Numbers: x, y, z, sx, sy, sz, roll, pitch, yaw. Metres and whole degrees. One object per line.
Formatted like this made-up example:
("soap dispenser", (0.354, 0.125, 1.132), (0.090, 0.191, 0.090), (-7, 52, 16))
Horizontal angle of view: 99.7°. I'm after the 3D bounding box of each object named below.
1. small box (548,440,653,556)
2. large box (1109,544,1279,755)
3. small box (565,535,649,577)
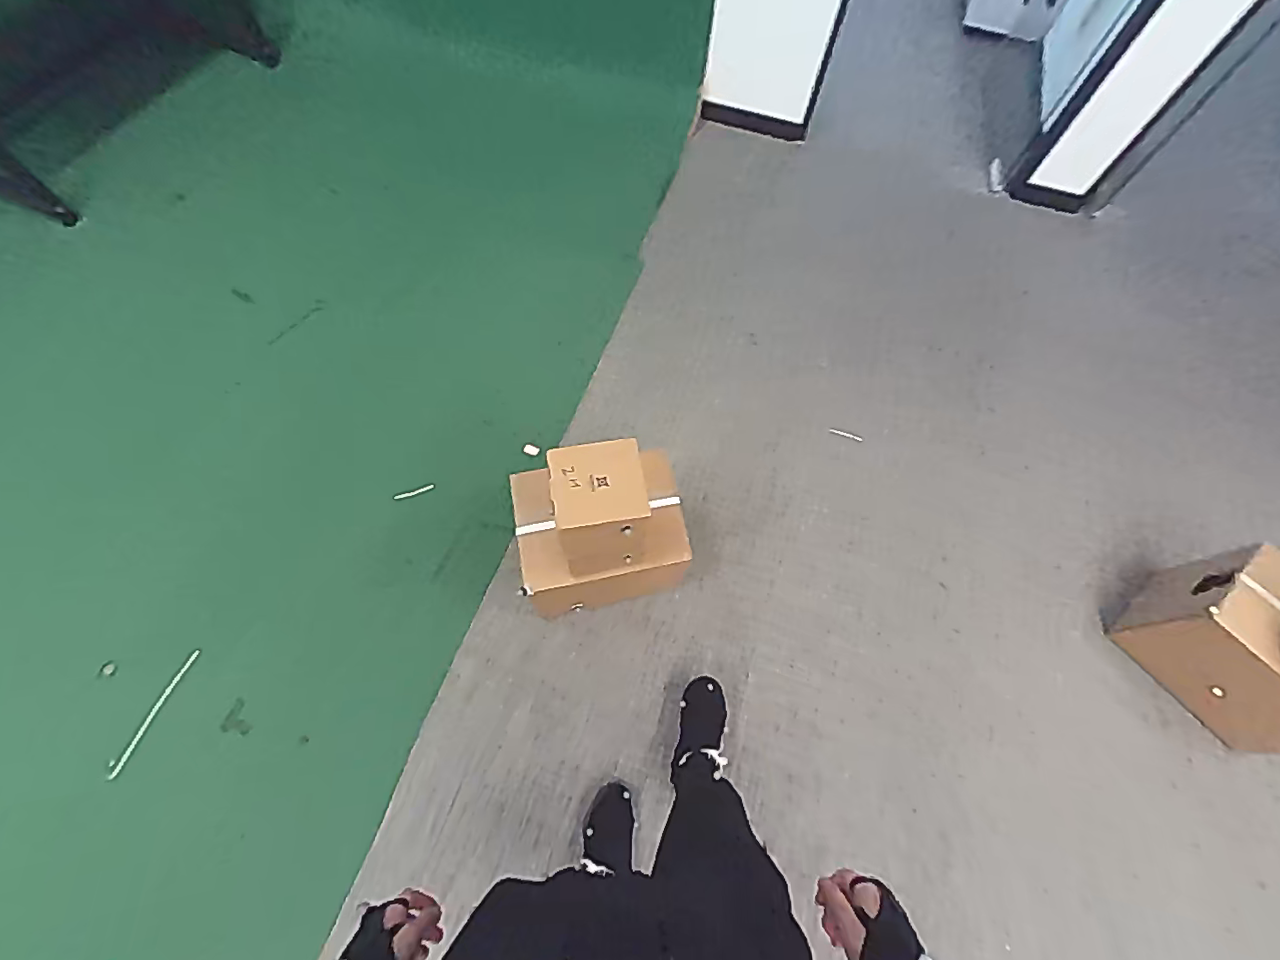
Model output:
("small box", (-0.079, 0.040, 1.060), (0.179, 0.176, 0.168), (-8, 66, -6))
("large box", (1.598, 0.448, 1.414), (0.320, 0.320, 0.408), (-36, 71, -18))
("small box", (-0.086, 0.106, 1.211), (0.179, 0.176, 0.168), (-10, 67, -7))
